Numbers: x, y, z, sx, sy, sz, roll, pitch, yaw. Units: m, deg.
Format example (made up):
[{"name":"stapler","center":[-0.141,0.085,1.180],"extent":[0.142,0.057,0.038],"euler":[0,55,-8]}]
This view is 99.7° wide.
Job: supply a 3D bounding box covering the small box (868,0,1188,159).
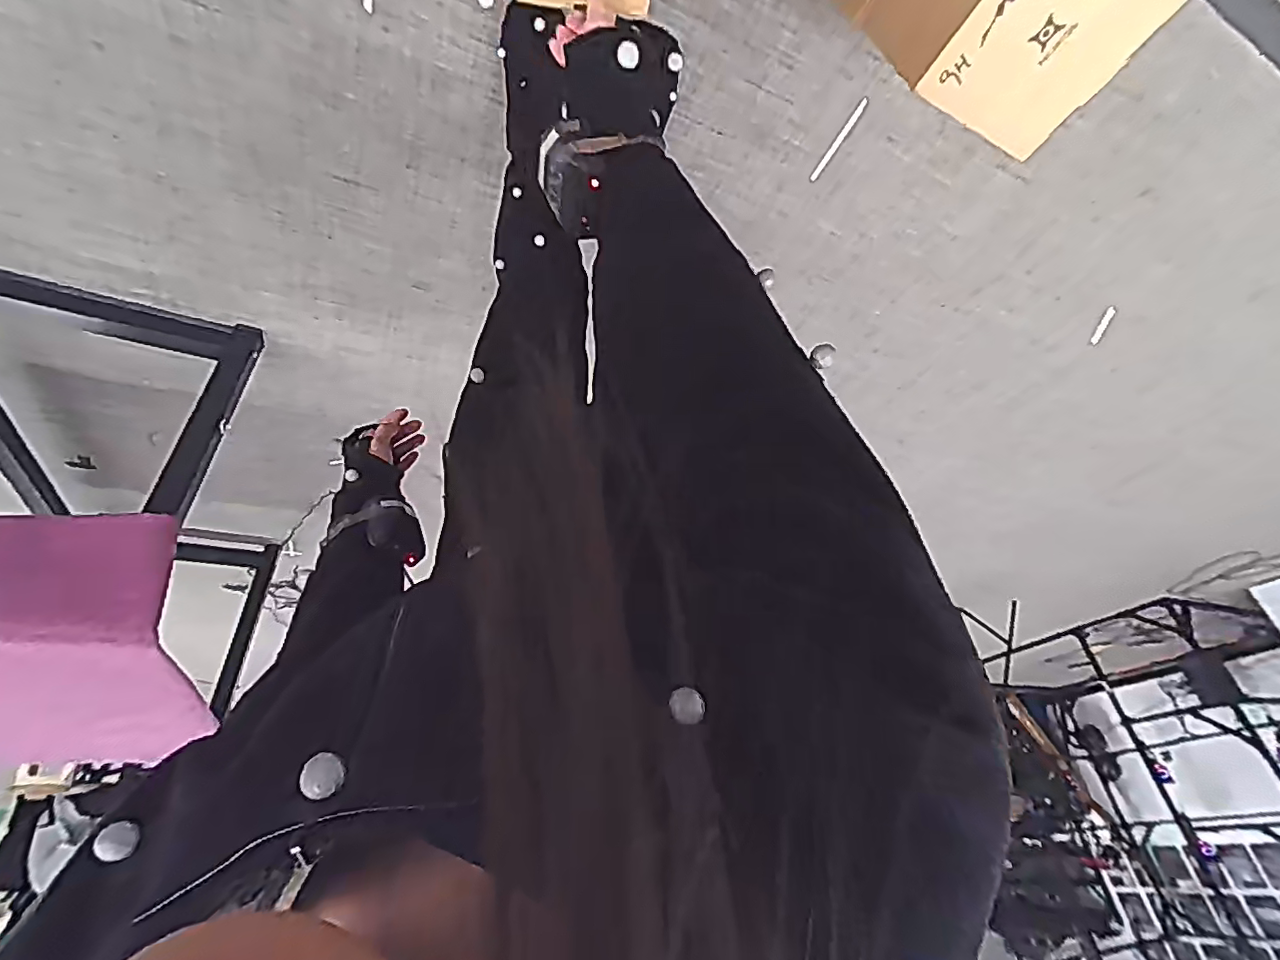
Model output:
[{"name":"small box","center":[0.364,-0.468,0.530],"extent":[0.179,0.176,0.168],"euler":[10,145,-25]}]
